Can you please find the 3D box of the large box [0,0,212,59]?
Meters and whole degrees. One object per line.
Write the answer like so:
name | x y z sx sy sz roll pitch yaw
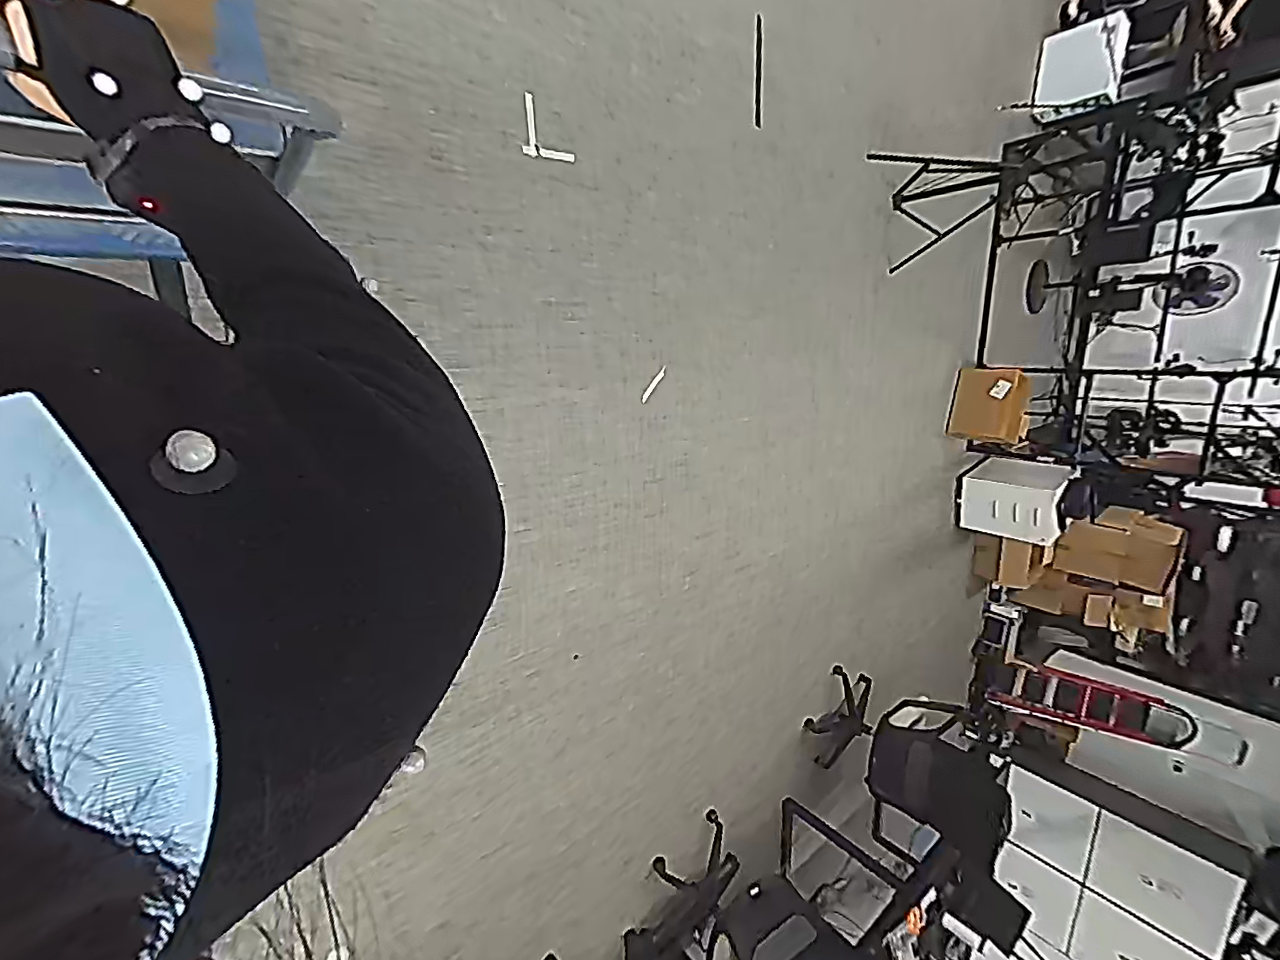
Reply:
large box | -0.824 -0.818 0.682 0.408 0.320 0.320 -11 106 -37
